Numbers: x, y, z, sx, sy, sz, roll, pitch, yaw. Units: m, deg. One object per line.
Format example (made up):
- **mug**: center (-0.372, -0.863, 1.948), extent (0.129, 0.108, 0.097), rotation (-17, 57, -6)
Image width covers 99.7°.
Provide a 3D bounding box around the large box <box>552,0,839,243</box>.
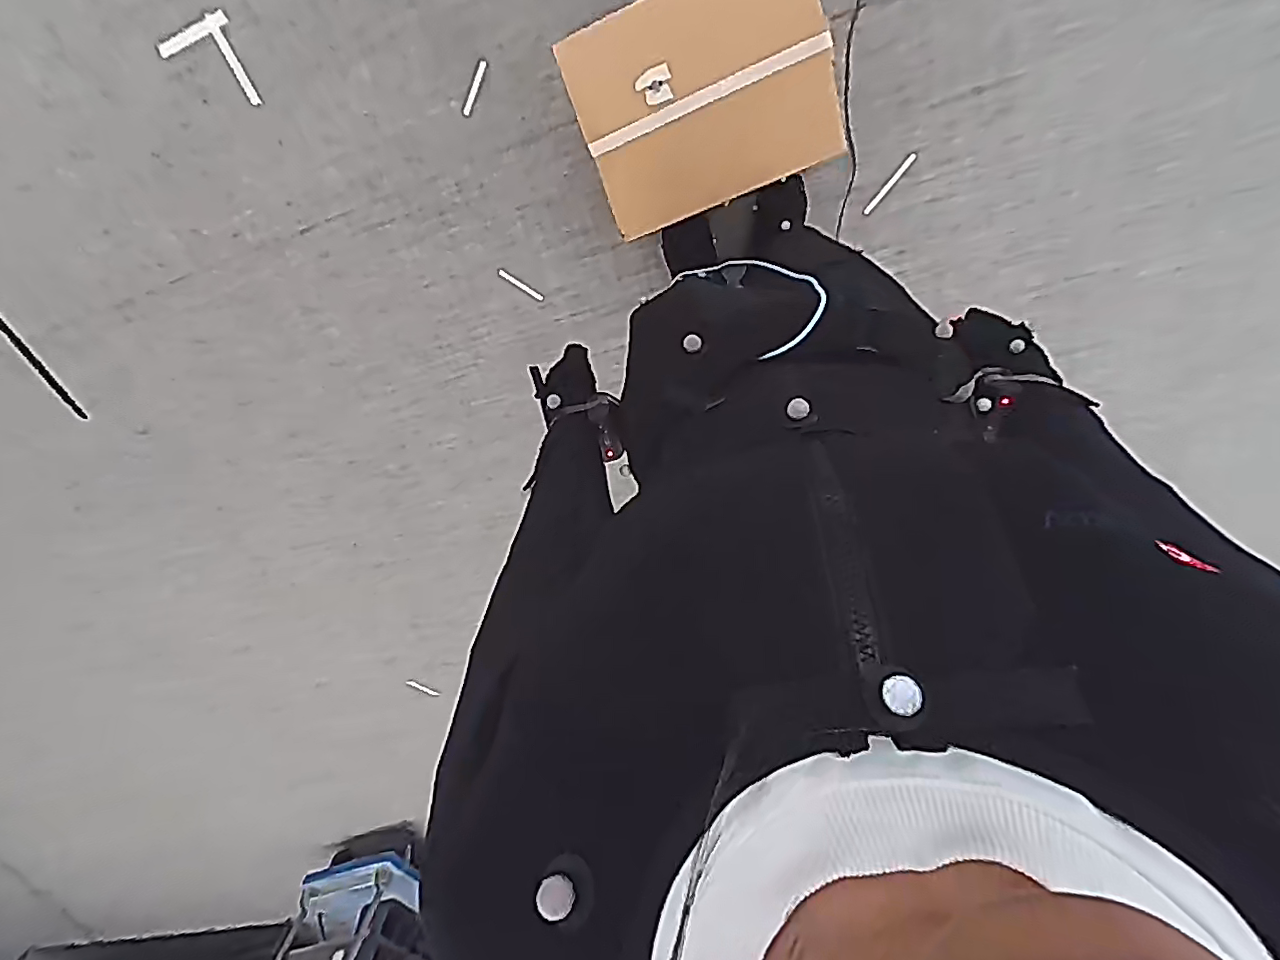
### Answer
- **large box**: center (0.107, -0.691, 1.007), extent (0.408, 0.320, 0.320), rotation (-17, 116, 14)
